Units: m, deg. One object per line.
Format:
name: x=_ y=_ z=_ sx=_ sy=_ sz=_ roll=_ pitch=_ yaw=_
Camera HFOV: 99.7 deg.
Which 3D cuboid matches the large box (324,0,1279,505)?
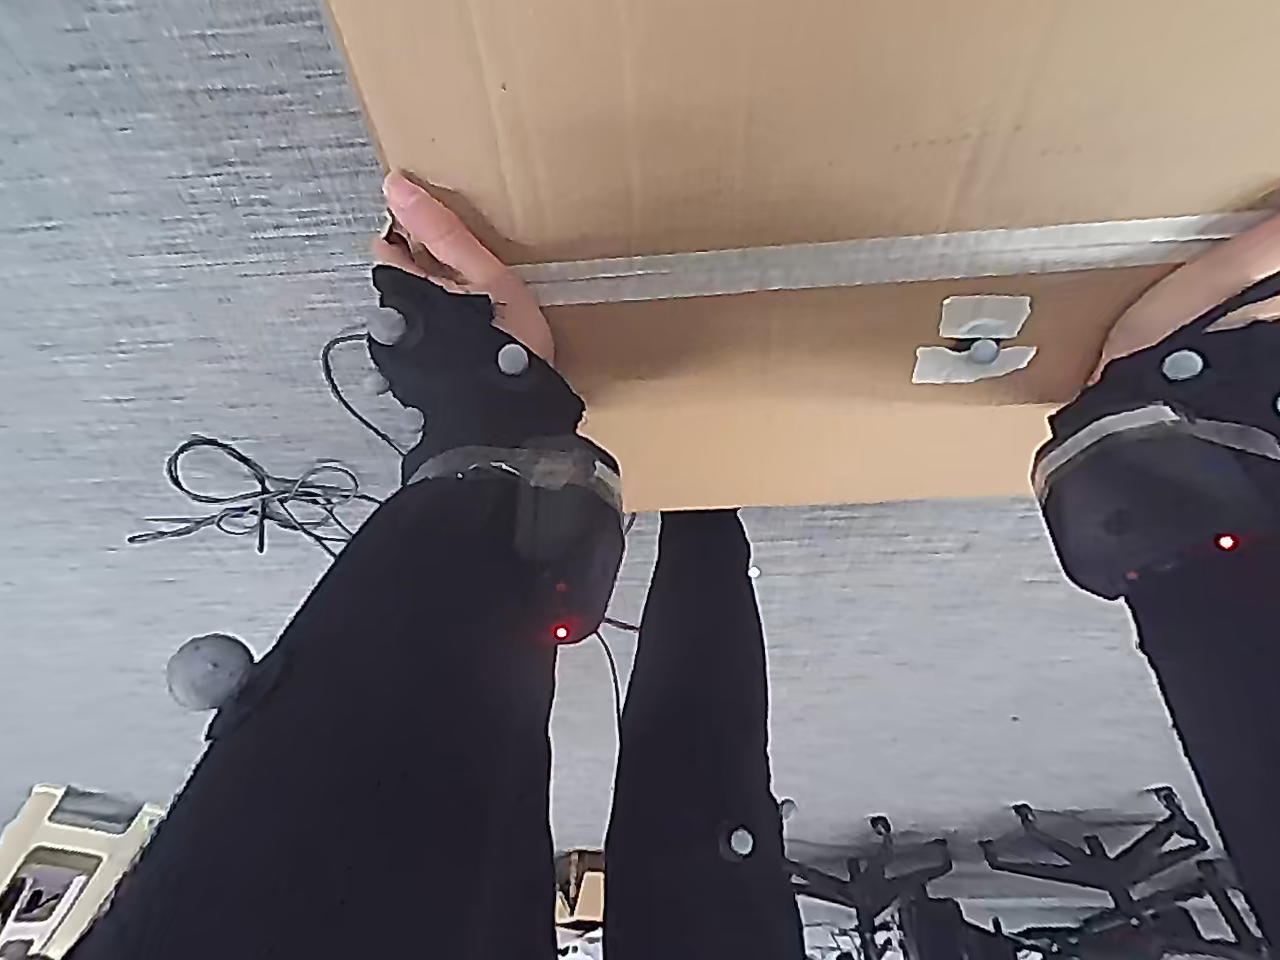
large box: x=0.093 y=-0.210 z=0.356 sx=0.408 sy=0.320 sz=0.320 roll=-4 pitch=134 yaw=3
